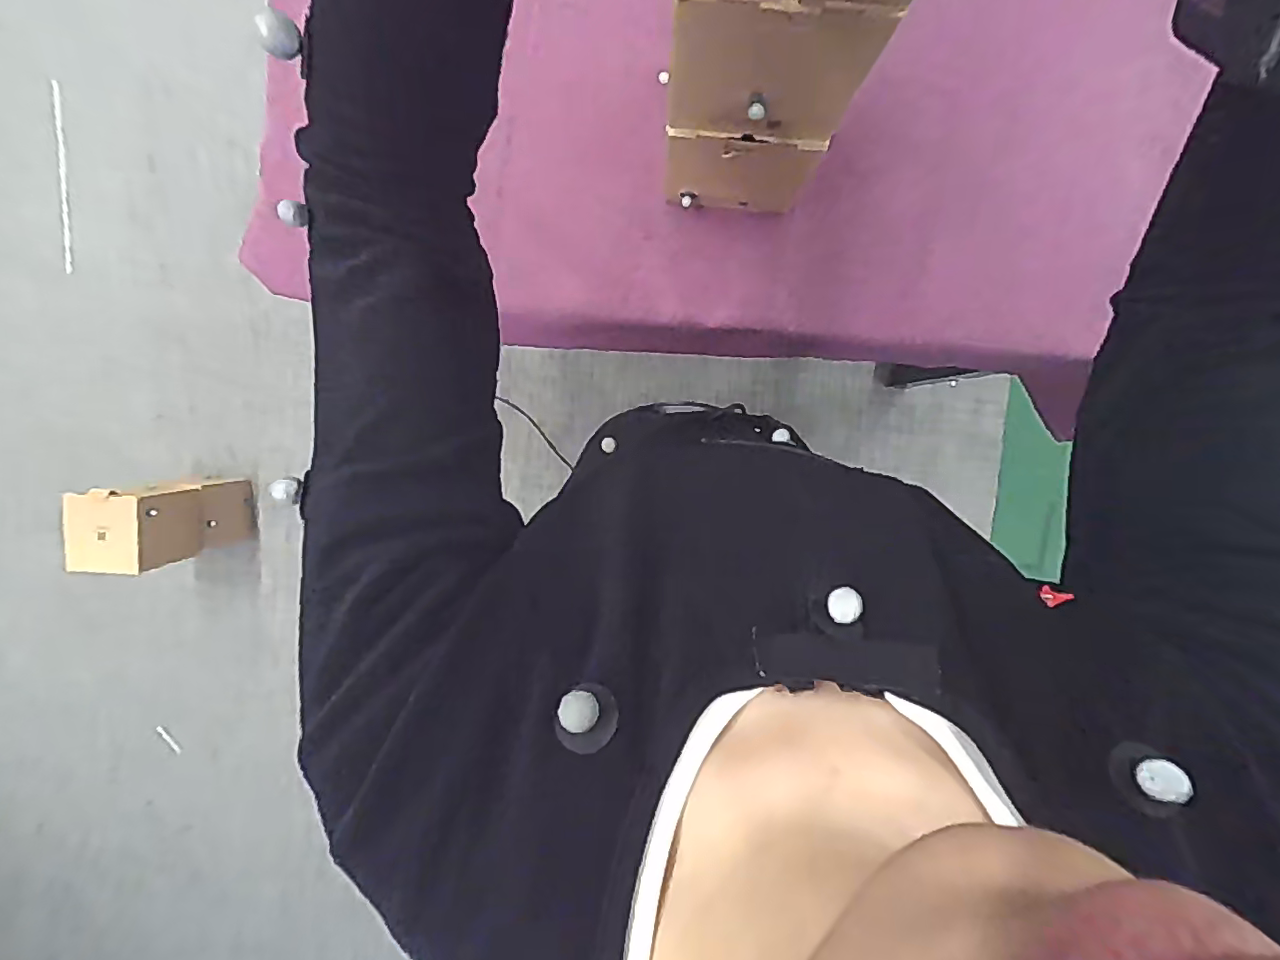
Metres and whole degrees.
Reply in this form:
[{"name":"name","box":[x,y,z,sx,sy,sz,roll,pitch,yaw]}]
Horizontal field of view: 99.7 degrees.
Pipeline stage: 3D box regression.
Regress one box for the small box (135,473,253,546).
[{"name":"small box","box":[-1.162,0.071,1.418,0.179,0.176,0.168,3,96,1]}]

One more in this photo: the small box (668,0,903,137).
[{"name":"small box","box":[0.114,-0.431,0.455,0.168,0.176,0.179,6,96,1]}]

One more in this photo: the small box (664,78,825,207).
[{"name":"small box","box":[0.118,-0.438,0.620,0.168,0.176,0.179,6,95,0]}]

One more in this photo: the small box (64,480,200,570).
[{"name":"small box","box":[-1.168,0.099,1.256,0.168,0.176,0.179,3,95,0]}]

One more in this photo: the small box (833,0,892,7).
[{"name":"small box","box":[0.113,-0.419,0.293,0.168,0.176,0.179,6,96,1]}]
